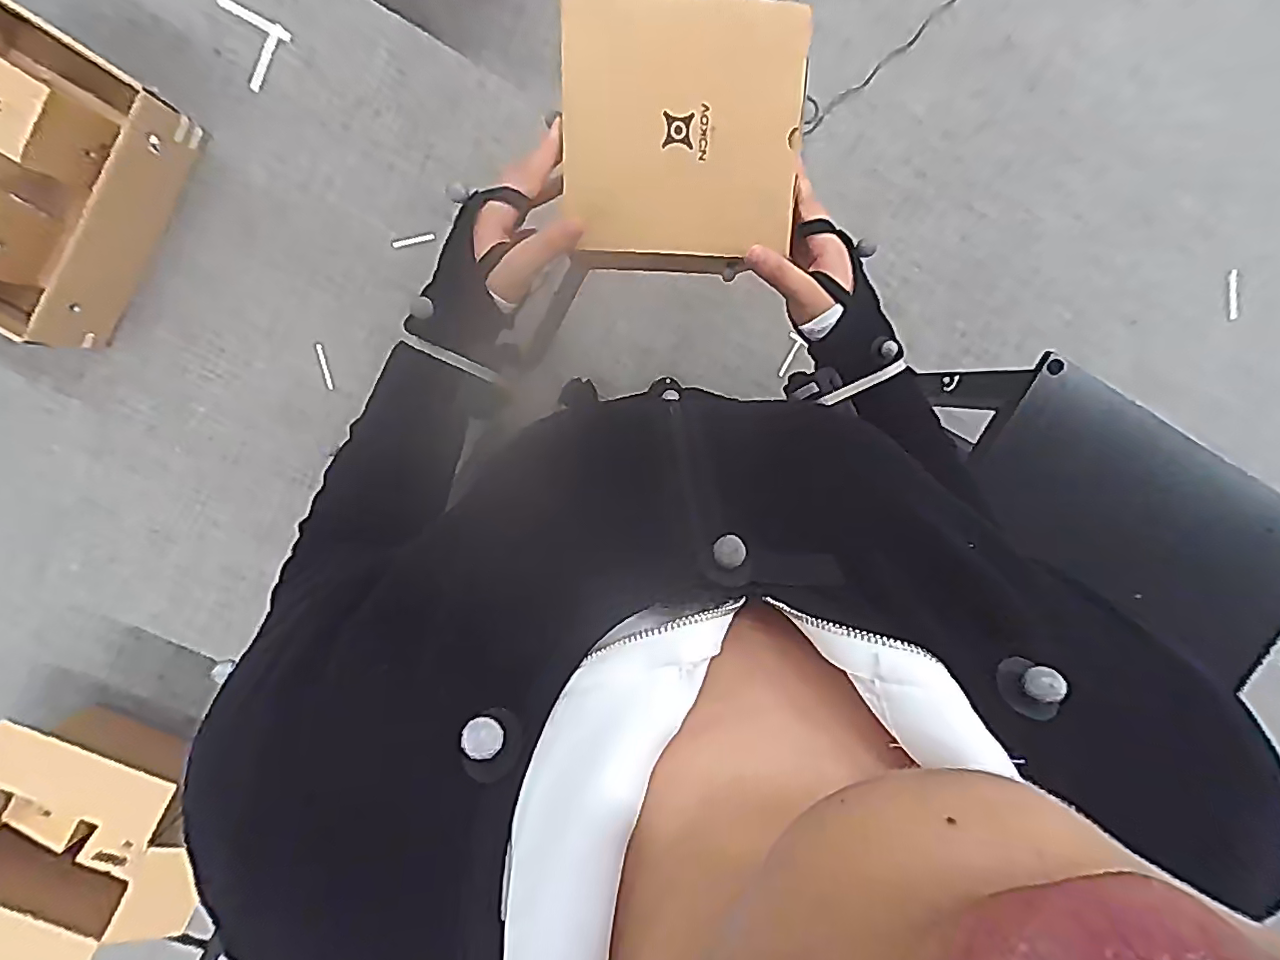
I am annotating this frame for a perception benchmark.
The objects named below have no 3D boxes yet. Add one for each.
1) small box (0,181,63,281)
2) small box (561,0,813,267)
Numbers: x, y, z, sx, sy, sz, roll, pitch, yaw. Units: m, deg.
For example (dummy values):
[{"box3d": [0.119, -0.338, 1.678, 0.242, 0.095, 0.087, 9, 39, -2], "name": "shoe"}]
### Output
[{"box3d": [-1.447, -0.563, 1.182, 0.168, 0.176, 0.179, 32, 95, -11], "name": "small box"}, {"box3d": [0.024, -0.280, 0.467, 0.179, 0.176, 0.168, 0, 108, -7], "name": "small box"}]
